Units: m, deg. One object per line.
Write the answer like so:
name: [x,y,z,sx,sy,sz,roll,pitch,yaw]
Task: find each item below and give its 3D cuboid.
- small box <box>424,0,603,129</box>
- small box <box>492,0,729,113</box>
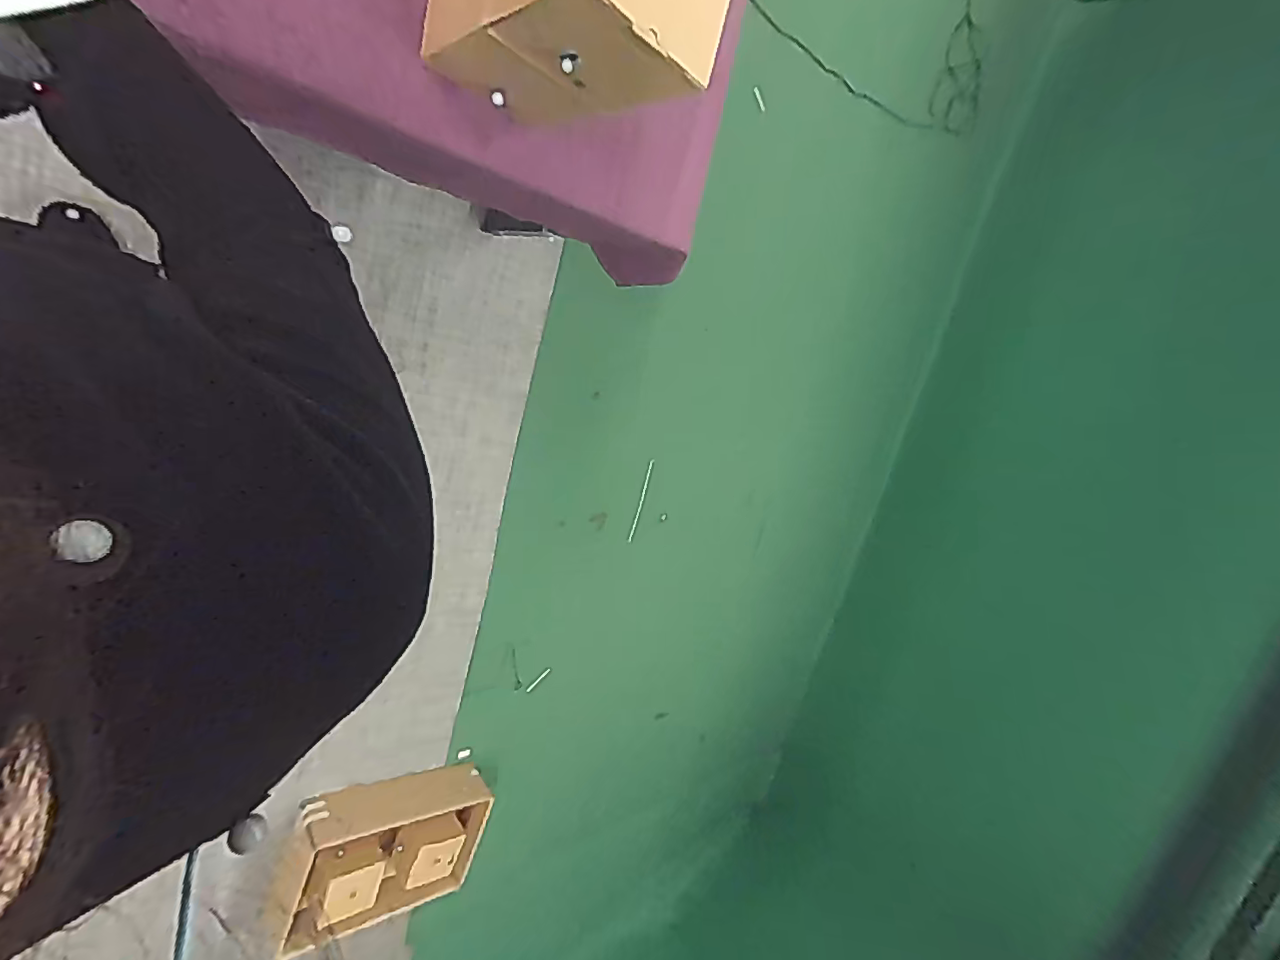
small box: [-0.136,-0.553,0.640,0.168,0.176,0.179,3,107,-45]
small box: [-0.025,-0.501,0.532,0.168,0.176,0.179,3,108,-46]
